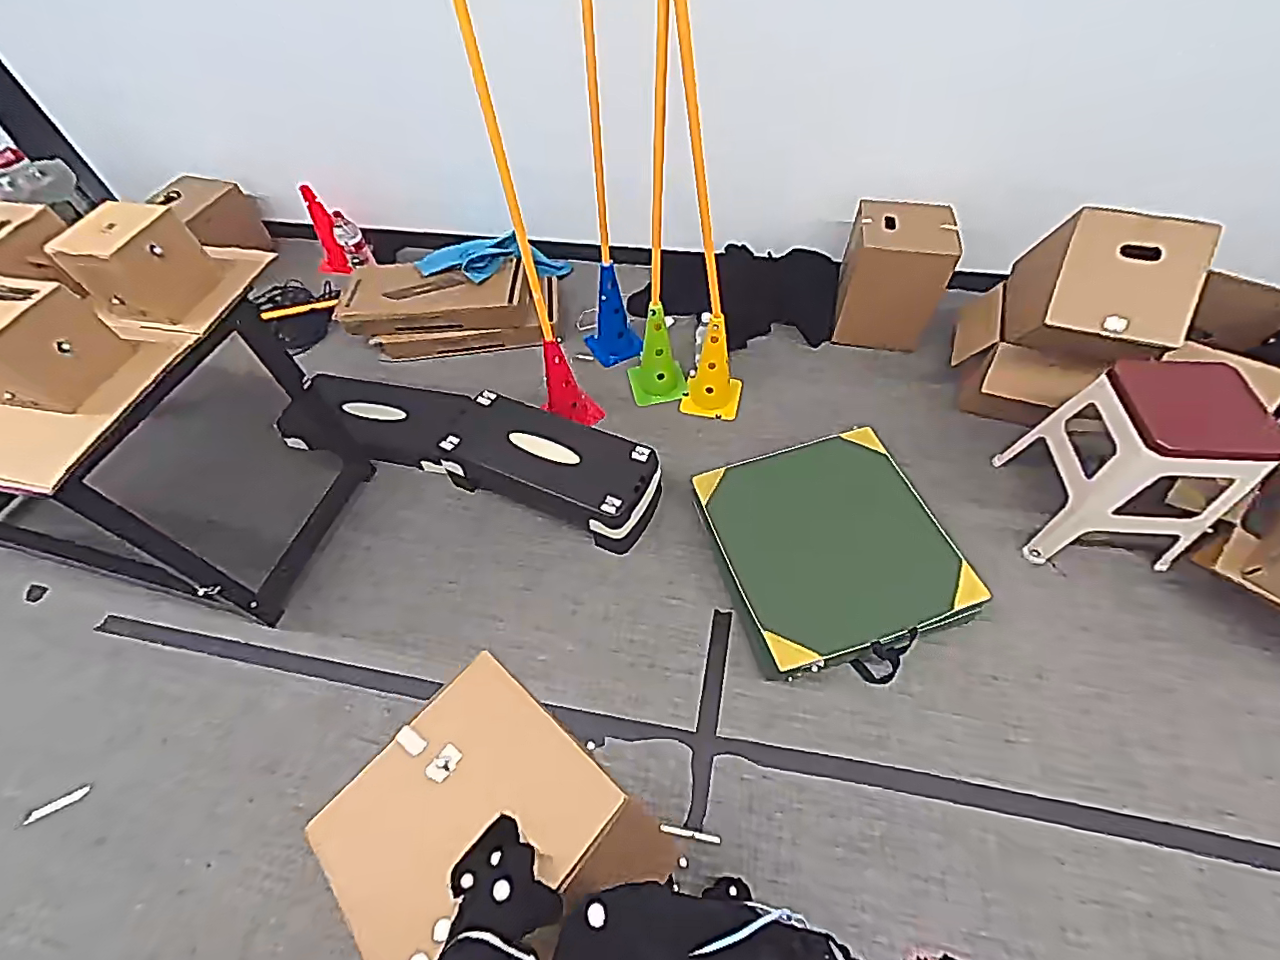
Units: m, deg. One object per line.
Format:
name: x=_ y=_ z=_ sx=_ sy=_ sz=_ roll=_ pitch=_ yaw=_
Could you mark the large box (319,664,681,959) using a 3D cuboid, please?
large box: x=-0.182 y=0.556 z=0.825 sx=0.320 sy=0.408 sz=0.320 roll=31 pitch=63 yaw=36
